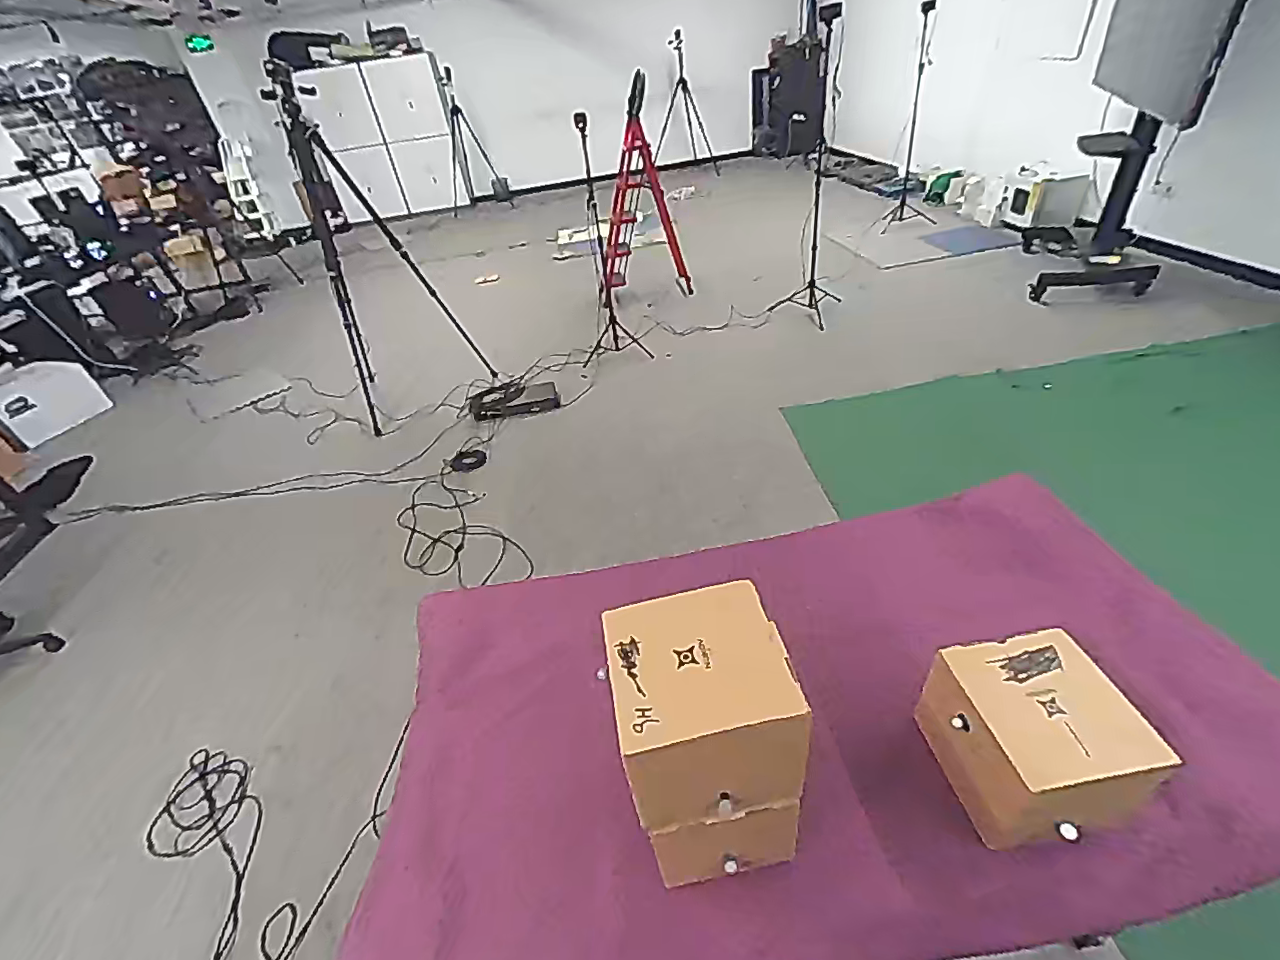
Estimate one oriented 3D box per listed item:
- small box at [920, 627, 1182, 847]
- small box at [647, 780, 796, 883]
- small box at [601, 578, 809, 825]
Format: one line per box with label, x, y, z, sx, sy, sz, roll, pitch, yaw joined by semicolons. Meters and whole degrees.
small box;0.475;0.313;0.666;0.168;0.176;0.179;-10;38;-1
small box;0.084;0.363;0.680;0.168;0.176;0.179;-11;37;-2
small box;0.062;0.235;0.580;0.179;0.176;0.168;-11;36;-3
